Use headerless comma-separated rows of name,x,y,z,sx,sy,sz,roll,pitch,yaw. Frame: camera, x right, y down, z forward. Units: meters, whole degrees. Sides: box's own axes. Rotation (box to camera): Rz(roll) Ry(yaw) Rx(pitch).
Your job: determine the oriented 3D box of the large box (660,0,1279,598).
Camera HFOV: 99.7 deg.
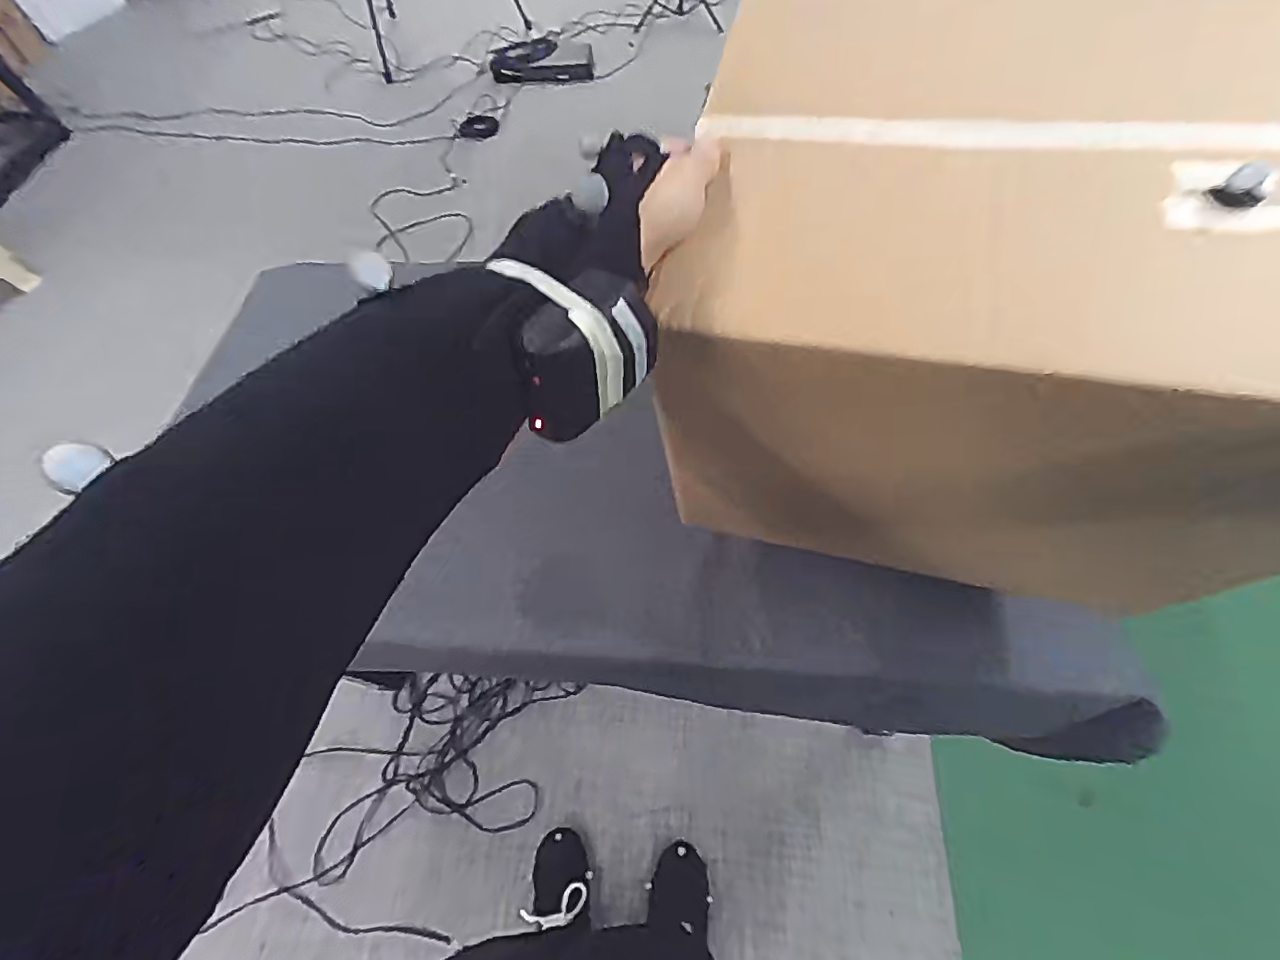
large box,0.250,-0.124,0.432,0.408,0.320,0.320,11,68,12
